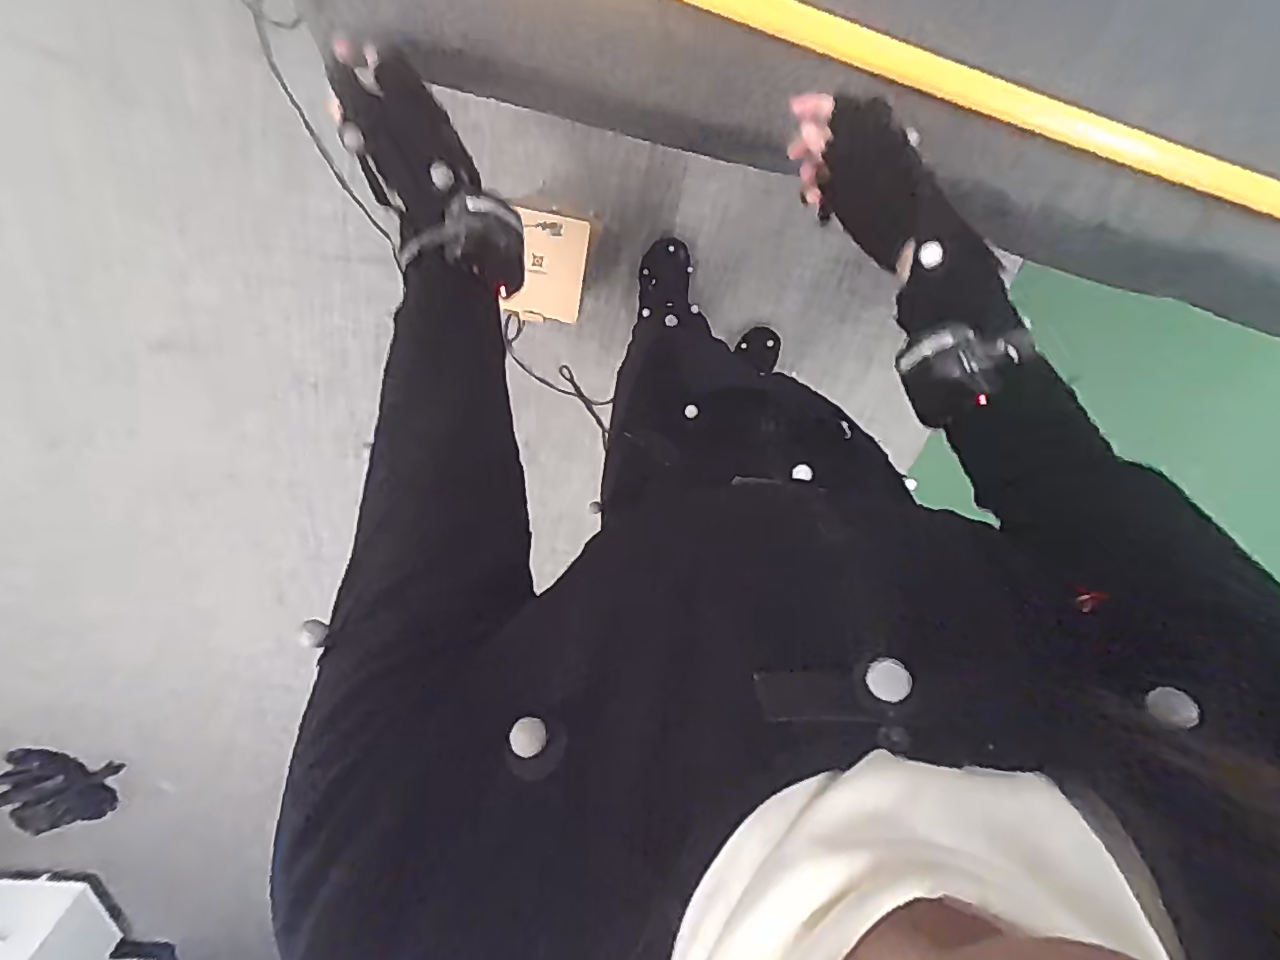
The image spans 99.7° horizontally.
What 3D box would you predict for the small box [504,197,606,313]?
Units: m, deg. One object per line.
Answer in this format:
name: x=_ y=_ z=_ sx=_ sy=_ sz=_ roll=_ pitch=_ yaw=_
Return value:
small box: x=-0.175 y=-0.486 z=1.155 sx=0.168 sy=0.176 sz=0.179 roll=18 pitch=119 yaw=-10
